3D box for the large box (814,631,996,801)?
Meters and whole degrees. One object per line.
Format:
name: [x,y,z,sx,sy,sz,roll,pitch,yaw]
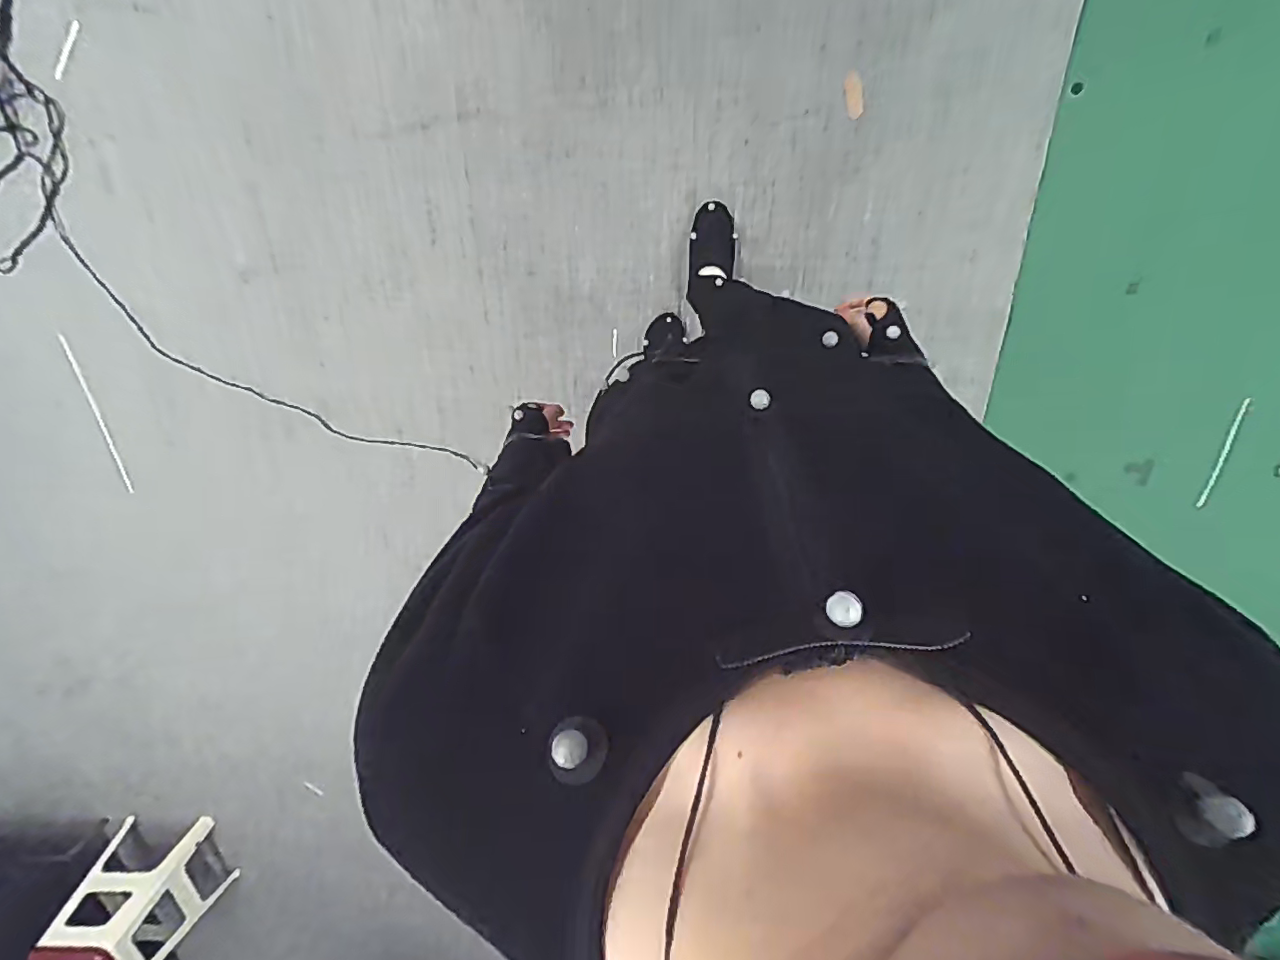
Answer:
large box: [0.795,0.712,1.660,0.408,0.320,0.320,-14,112,7]
